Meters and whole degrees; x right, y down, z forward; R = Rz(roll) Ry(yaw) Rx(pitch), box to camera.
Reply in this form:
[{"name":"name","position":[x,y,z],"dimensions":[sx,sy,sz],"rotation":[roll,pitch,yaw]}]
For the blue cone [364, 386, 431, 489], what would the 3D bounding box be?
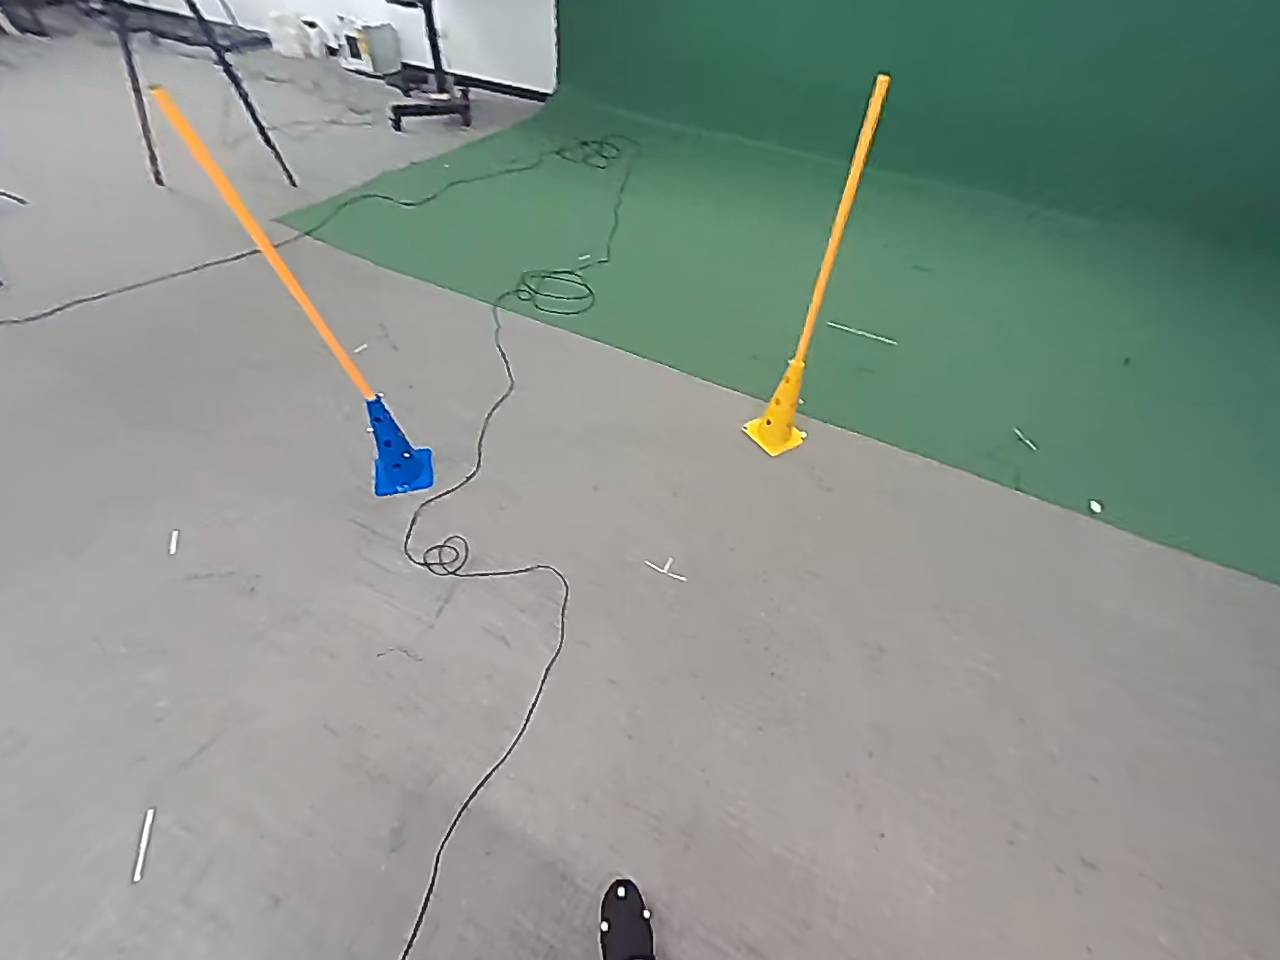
[{"name":"blue cone","position":[-0.847,-0.155,1.823],"dimensions":[0.193,0.380,0.192],"rotation":[-13,52,-13]}]
